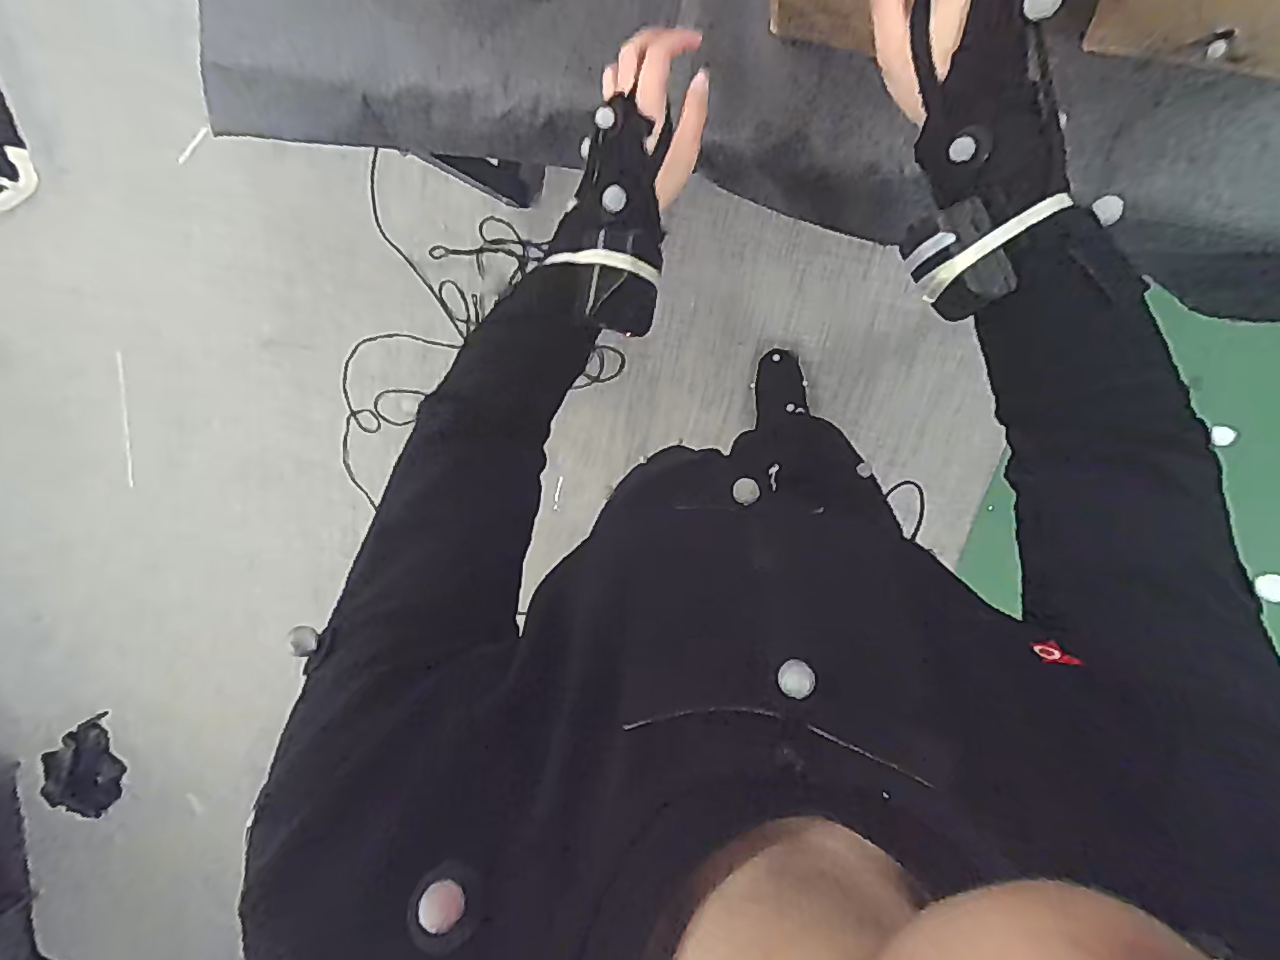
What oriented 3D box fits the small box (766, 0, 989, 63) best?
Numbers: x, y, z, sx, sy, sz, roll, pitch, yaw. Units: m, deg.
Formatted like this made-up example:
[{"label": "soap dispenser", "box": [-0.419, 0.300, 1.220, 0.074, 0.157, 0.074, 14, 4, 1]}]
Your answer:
[{"label": "small box", "box": [0.197, -0.444, 0.387, 0.179, 0.176, 0.168, 20, 106, 8]}]
